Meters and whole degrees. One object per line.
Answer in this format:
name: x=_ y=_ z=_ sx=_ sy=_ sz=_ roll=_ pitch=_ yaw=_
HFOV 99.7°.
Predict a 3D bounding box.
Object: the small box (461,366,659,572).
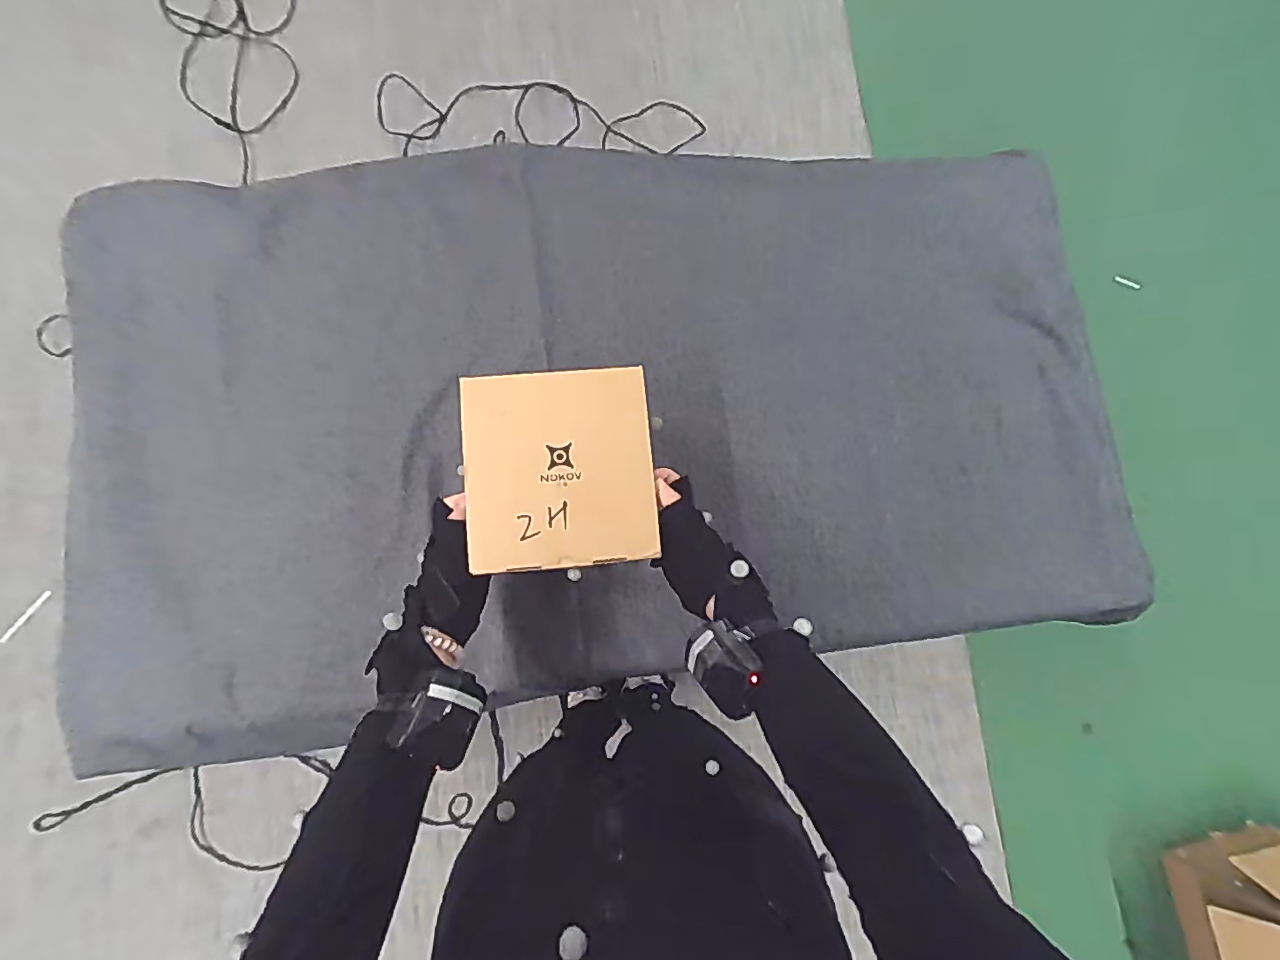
small box: x=-0.077 y=-0.001 z=0.552 sx=0.168 sy=0.176 sz=0.179 roll=-5 pitch=83 yaw=-4
